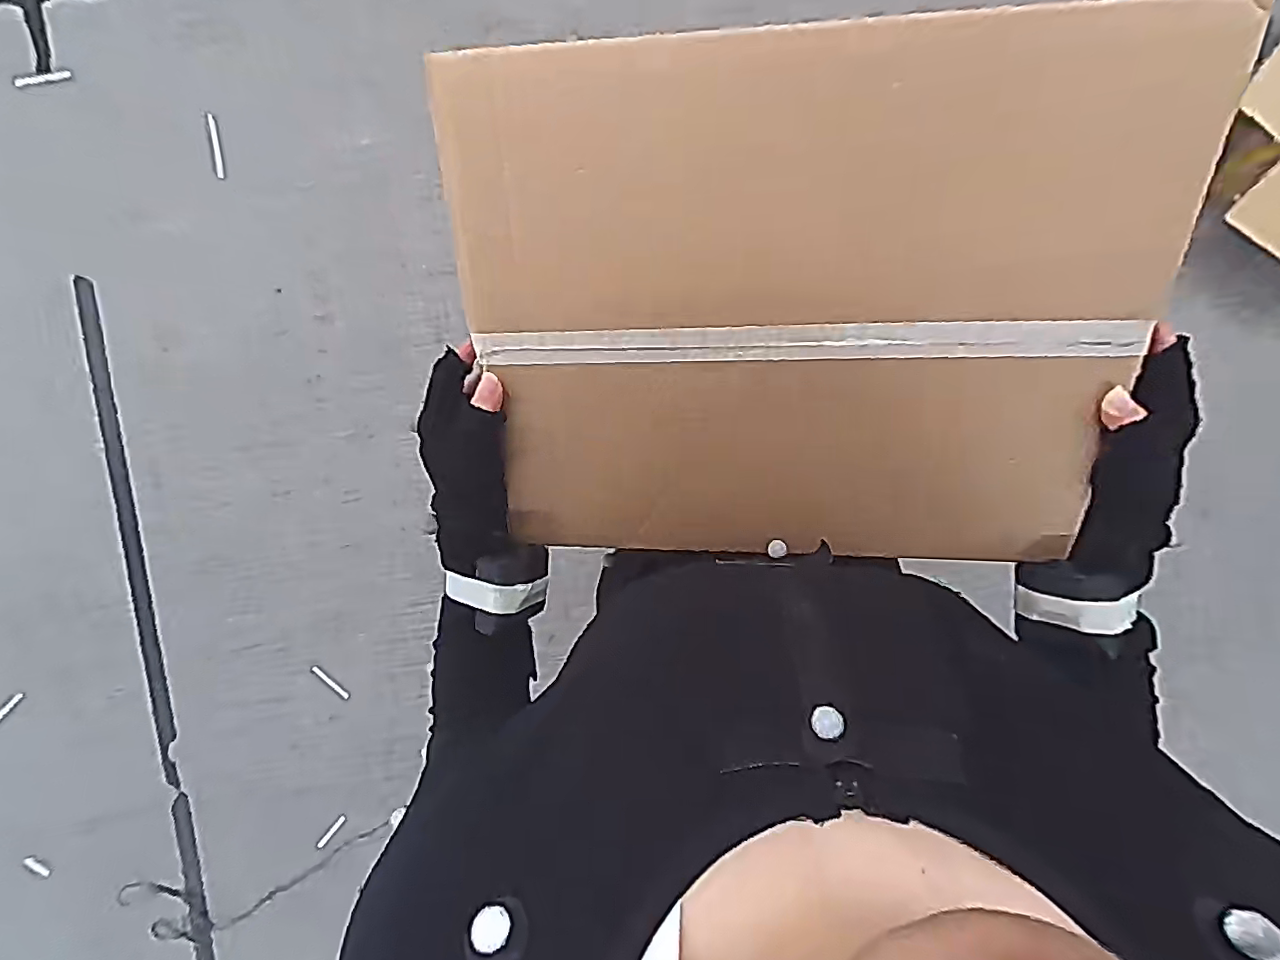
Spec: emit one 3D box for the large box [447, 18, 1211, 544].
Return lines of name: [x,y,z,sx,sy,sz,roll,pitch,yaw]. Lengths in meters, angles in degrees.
large box: [0.105,-0.156,0.485,0.408,0.320,0.320,1,118,6]
